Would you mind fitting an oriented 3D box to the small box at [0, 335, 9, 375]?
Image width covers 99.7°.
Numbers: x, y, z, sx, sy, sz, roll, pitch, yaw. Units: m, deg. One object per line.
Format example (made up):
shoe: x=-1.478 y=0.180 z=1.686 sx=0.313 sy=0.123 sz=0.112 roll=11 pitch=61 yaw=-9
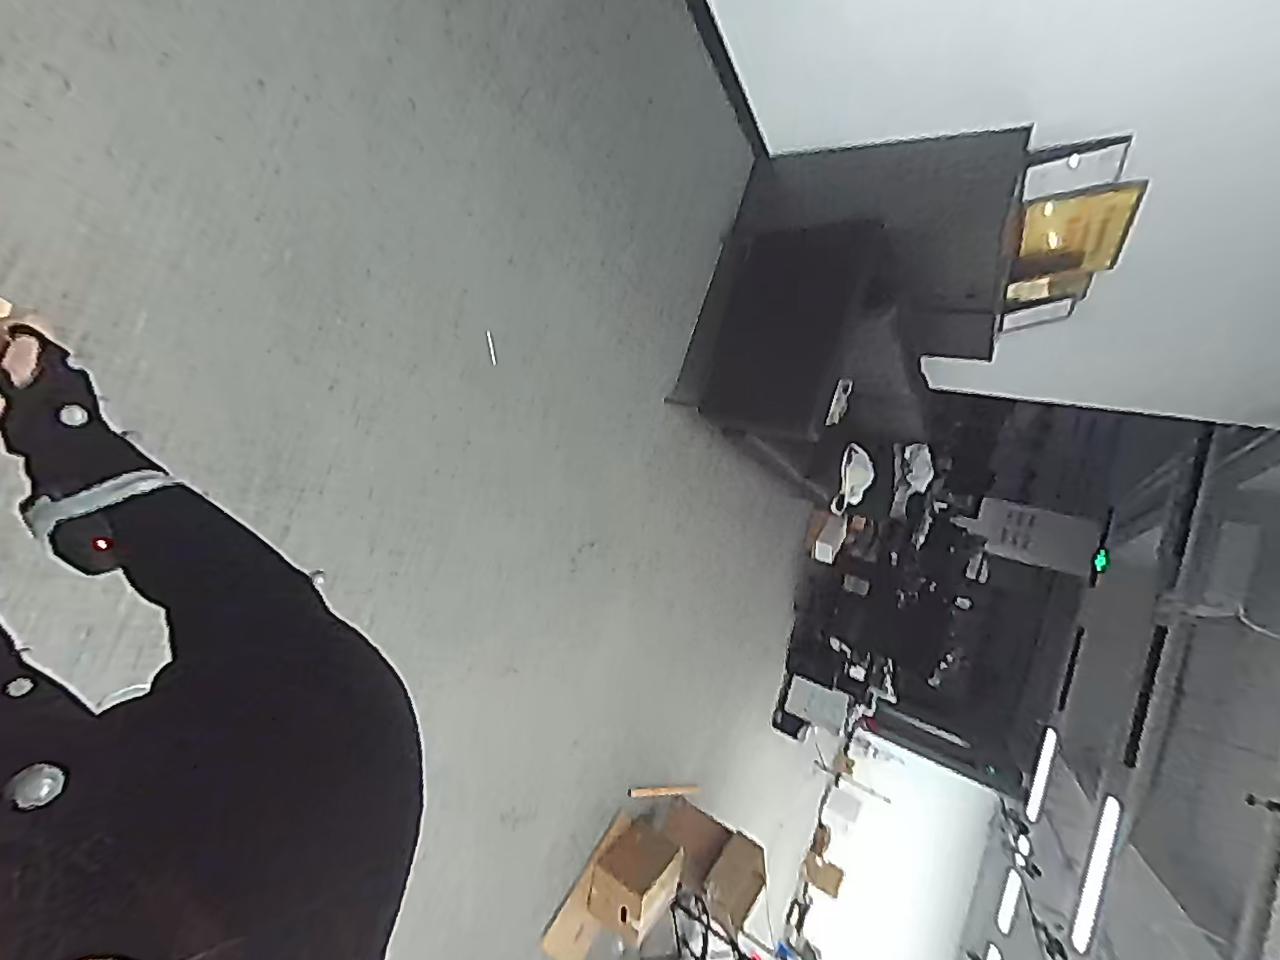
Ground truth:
small box: x=-0.653 y=-0.082 z=0.420 sx=0.168 sy=0.176 sz=0.179 roll=35 pitch=73 yaw=-44
